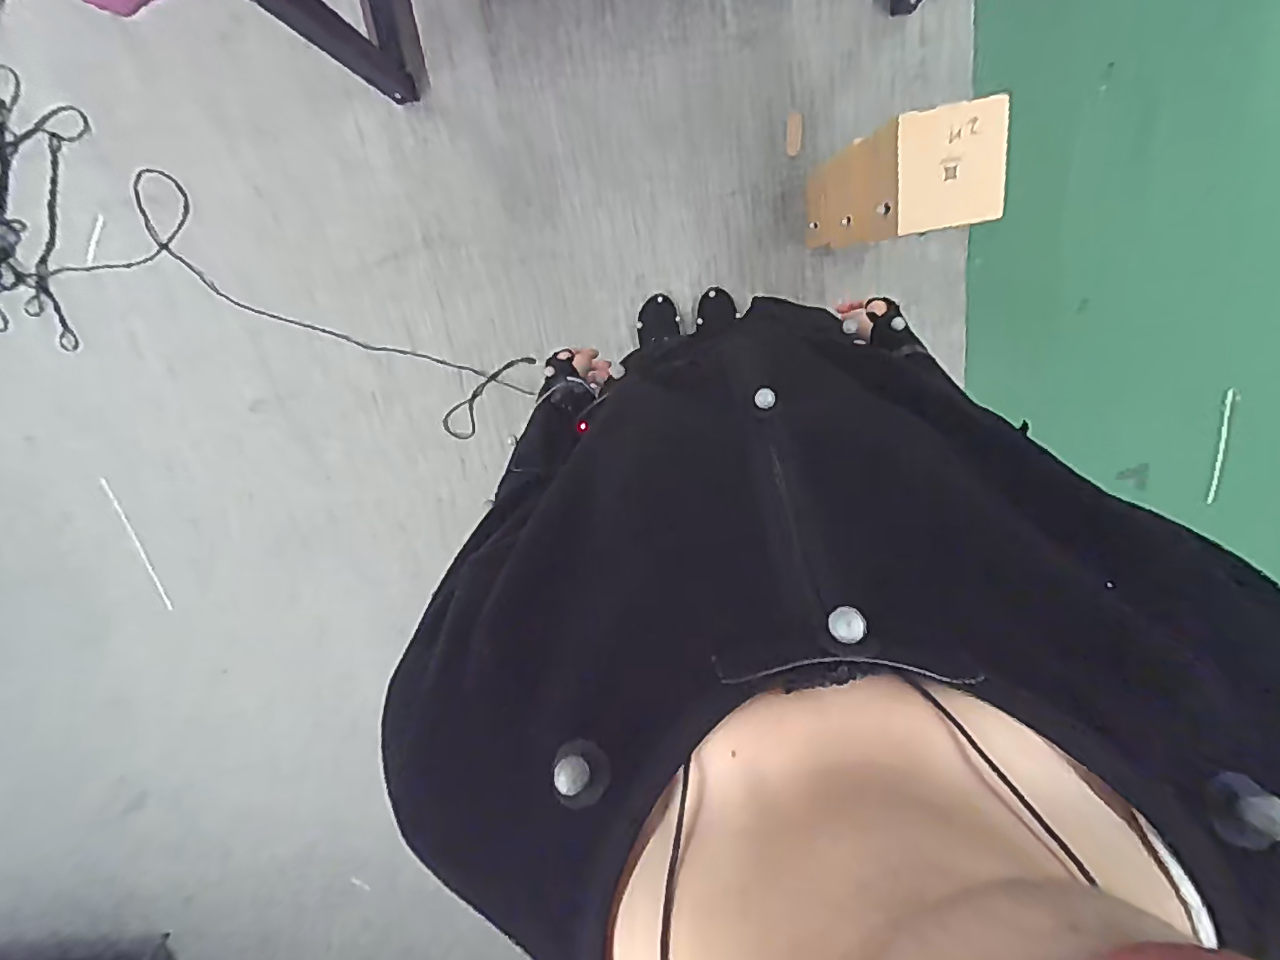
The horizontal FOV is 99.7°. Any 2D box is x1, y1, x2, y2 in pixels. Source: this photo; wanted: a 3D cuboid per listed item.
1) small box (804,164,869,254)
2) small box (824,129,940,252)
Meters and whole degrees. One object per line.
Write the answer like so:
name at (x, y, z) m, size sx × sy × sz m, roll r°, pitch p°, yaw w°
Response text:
small box at (0.478, -0.620, 1.236) m, size 0.179 × 0.176 × 0.168 m, roll -6°, pitch 108°, yaw 4°
small box at (0.476, -0.569, 1.083) m, size 0.168 × 0.176 × 0.179 m, roll -8°, pitch 109°, yaw 5°
